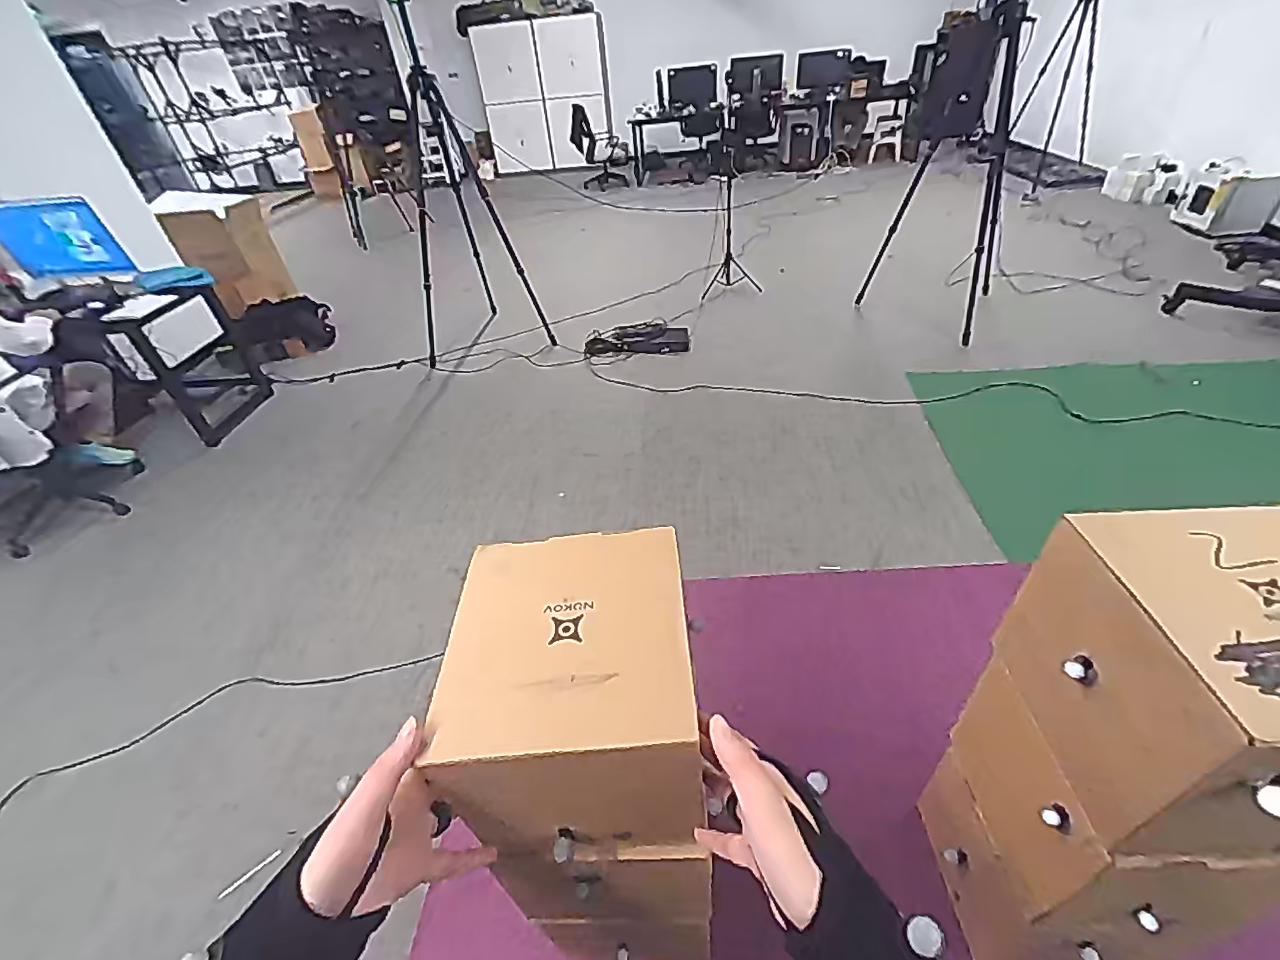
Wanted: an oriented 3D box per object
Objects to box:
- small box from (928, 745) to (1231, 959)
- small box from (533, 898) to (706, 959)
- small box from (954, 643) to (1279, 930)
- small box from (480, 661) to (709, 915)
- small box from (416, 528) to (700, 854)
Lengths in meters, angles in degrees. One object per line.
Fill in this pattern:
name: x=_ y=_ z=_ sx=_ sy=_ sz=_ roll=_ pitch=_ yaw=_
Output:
small box: x=0.434 y=0.400 z=0.580 sx=0.179 sy=0.176 sz=0.168 roll=-5 pitch=39 yaw=4
small box: x=-0.012 y=0.421 z=0.620 sx=0.168 sy=0.176 sz=0.179 roll=-3 pitch=38 yaw=4
small box: x=0.415 y=0.269 z=0.484 sx=0.168 sy=0.176 sz=0.179 roll=-3 pitch=39 yaw=4
small box: x=-0.028 y=0.294 z=0.517 sx=0.179 sy=0.176 sz=0.168 roll=-3 pitch=39 yaw=4
small box: x=-0.044 y=0.162 z=0.424 sx=0.168 sy=0.176 sz=0.179 roll=-6 pitch=40 yaw=3
